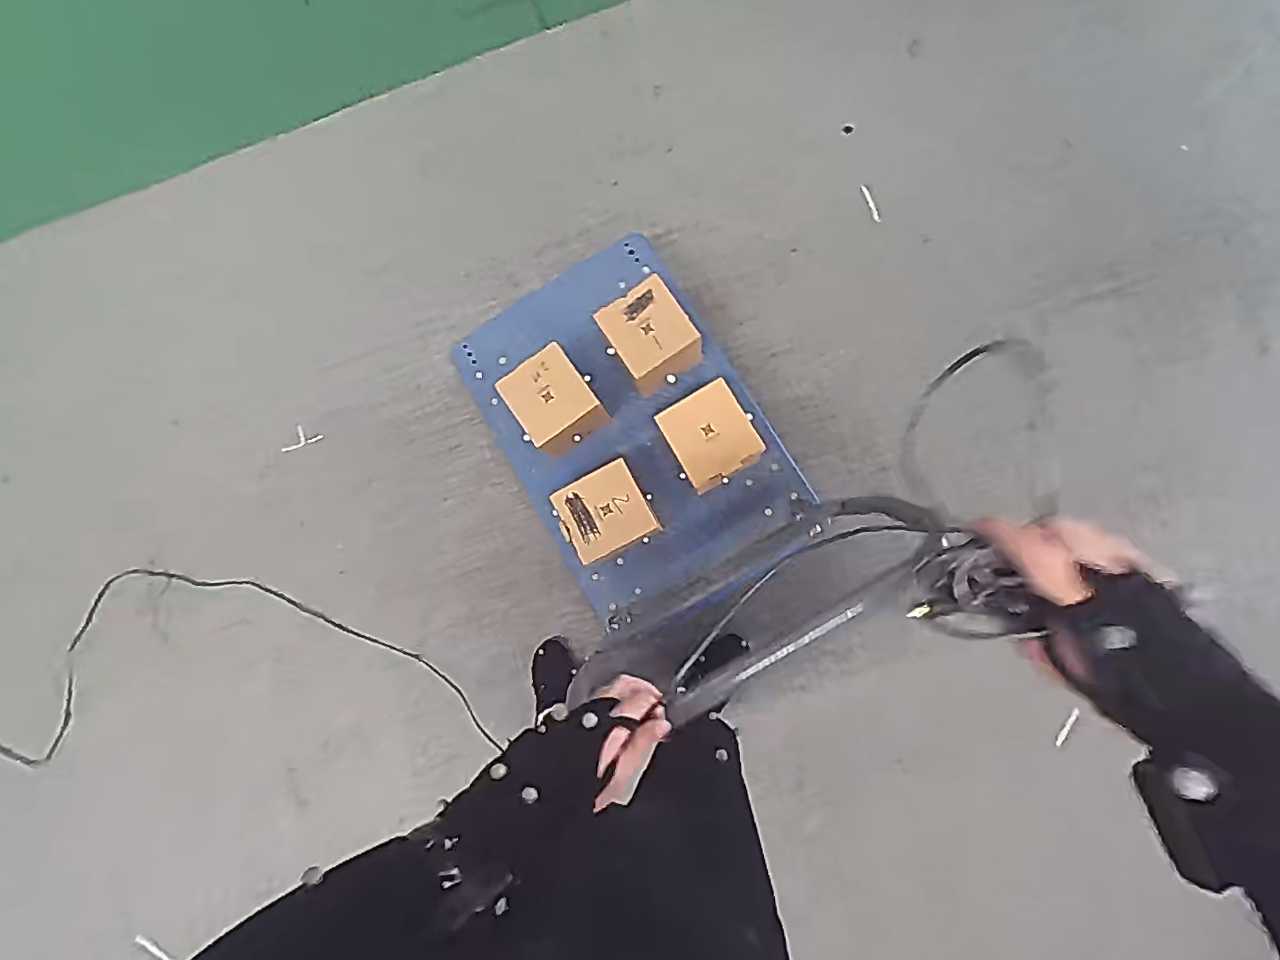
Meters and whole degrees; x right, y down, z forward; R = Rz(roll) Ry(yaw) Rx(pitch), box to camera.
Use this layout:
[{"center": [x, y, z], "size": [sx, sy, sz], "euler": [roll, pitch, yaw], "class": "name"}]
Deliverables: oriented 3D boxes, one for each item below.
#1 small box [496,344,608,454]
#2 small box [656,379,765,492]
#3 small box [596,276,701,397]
[{"center": [-0.190, -0.172, 1.233], "size": [0.168, 0.176, 0.179], "euler": [-35, 81, 1], "class": "small box"}, {"center": [0.150, -0.088, 1.186], "size": [0.168, 0.176, 0.179], "euler": [-30, 82, 2], "class": "small box"}, {"center": [0.023, -0.316, 1.225], "size": [0.168, 0.176, 0.179], "euler": [-33, 81, 2], "class": "small box"}]
